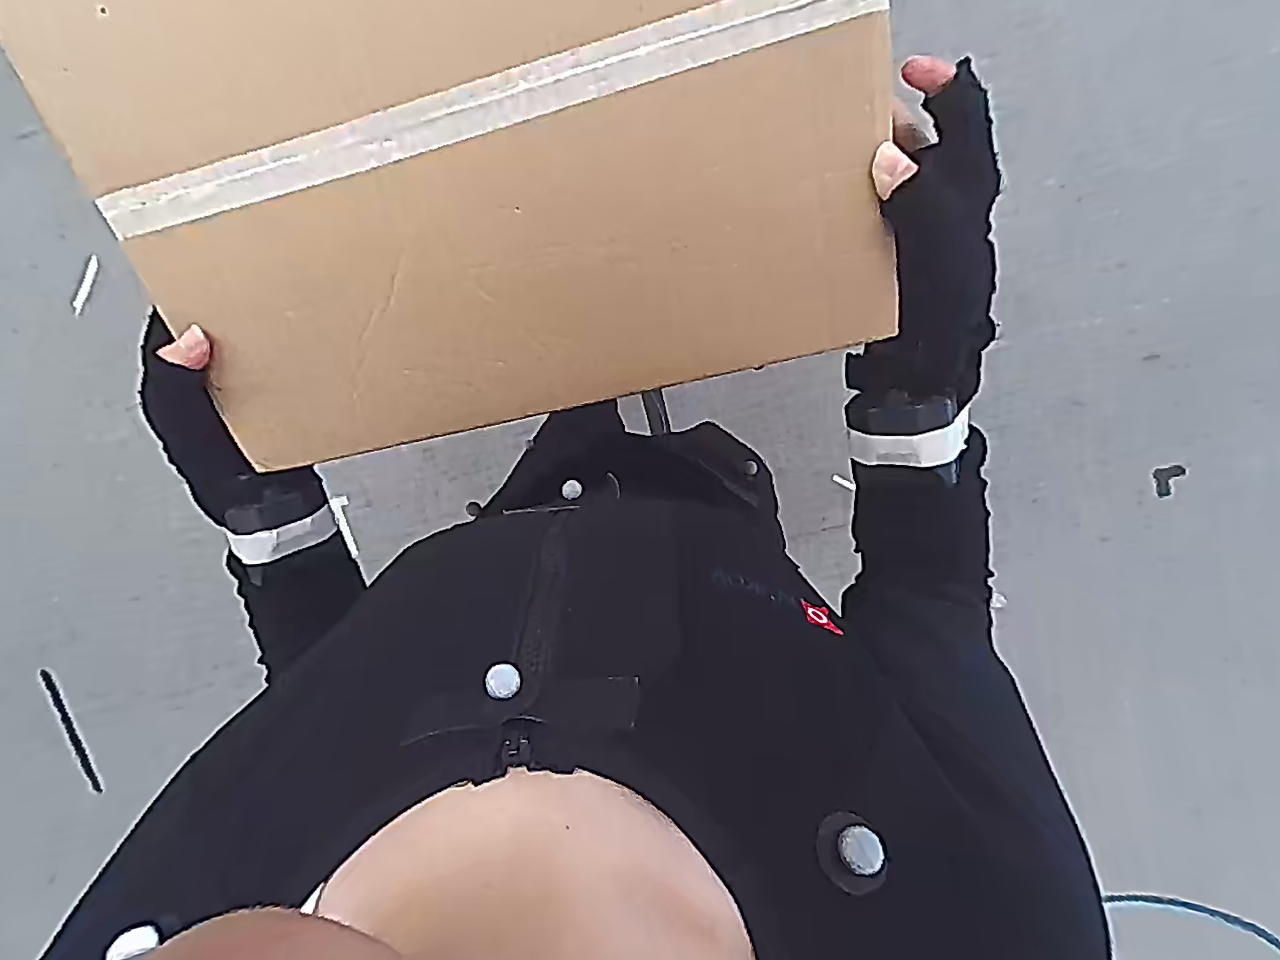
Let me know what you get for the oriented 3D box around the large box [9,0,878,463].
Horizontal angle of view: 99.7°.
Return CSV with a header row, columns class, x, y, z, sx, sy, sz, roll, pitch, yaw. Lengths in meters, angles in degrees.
class,x,y,z,sx,sy,sz,roll,pitch,yaw
large box,-0.083,-0.250,0.411,0.408,0.320,0.320,-11,114,8
